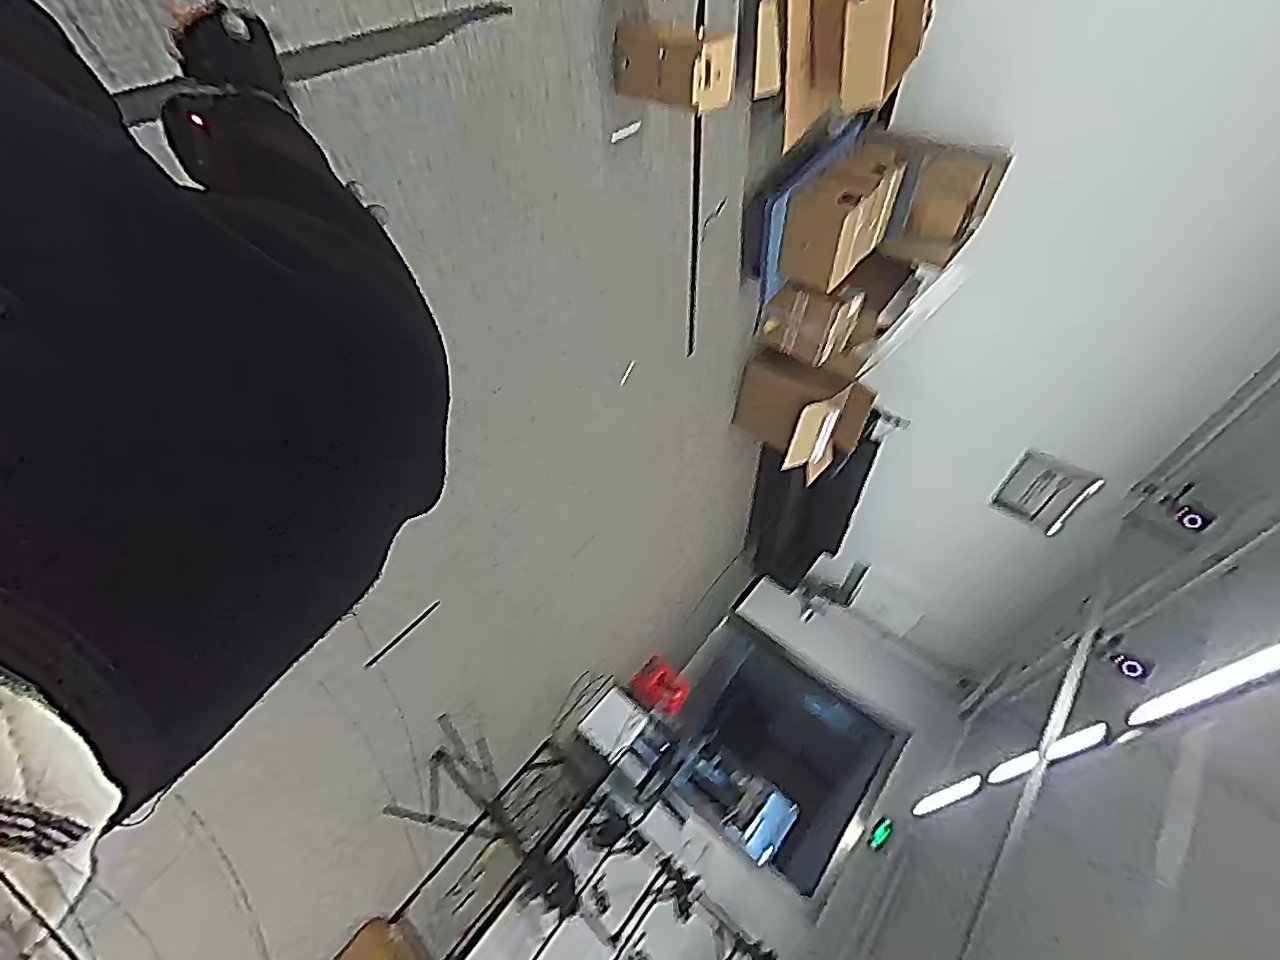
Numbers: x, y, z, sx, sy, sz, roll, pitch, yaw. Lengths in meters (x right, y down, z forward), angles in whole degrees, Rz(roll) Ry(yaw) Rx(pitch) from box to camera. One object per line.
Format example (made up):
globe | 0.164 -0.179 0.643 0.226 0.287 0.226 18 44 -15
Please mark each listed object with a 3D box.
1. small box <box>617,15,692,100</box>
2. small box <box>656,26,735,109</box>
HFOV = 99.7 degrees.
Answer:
small box | 0.040 -1.330 1.699 0.168 0.176 0.179 -41 151 -31
small box | 0.162 -1.244 1.627 0.179 0.176 0.168 -42 151 -30
